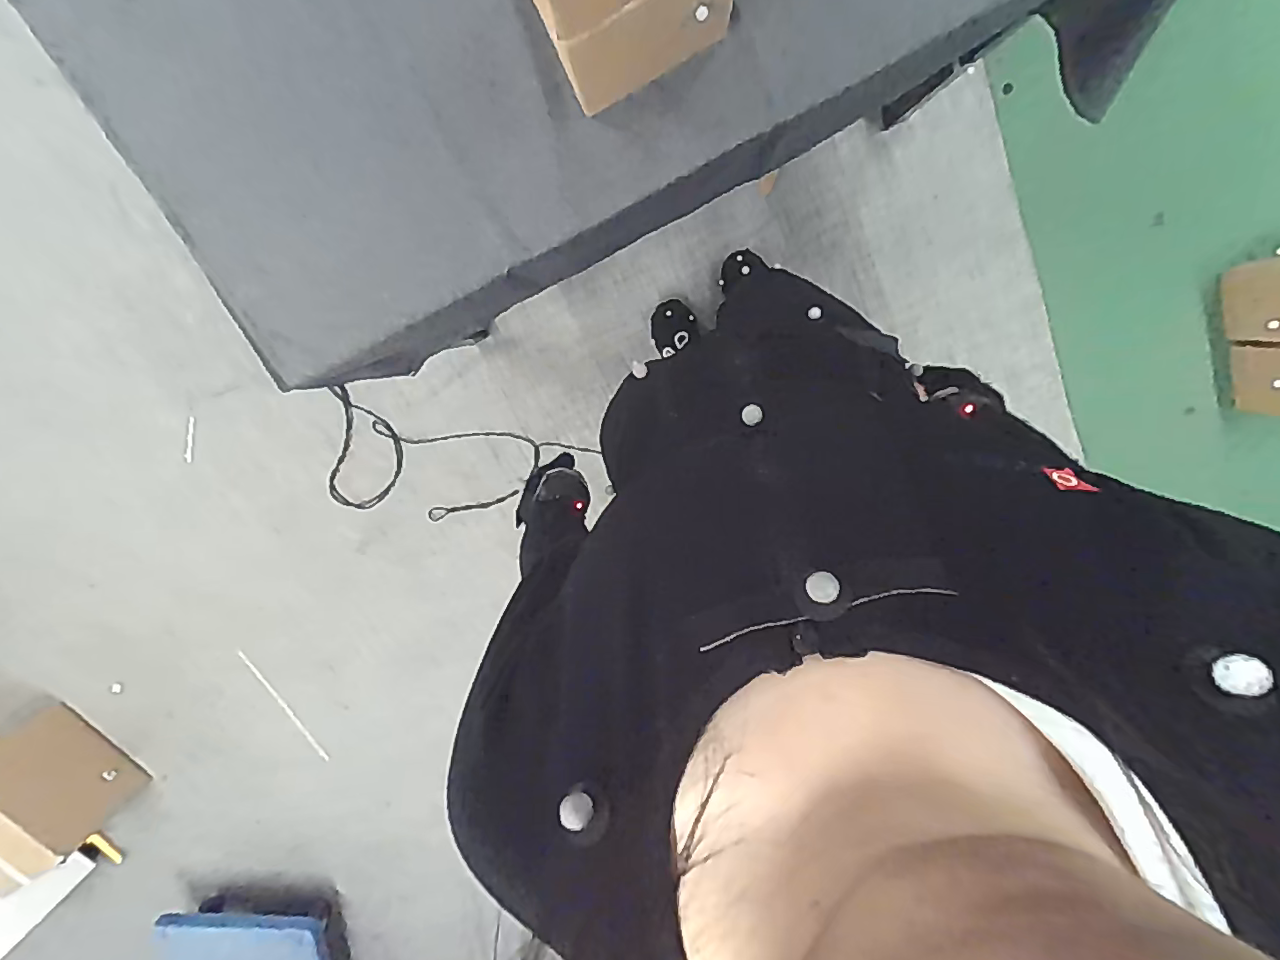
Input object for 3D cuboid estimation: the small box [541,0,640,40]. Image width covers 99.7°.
[{"bbox_3d":[-0.027,-0.458,0.361,0.179,0.176,0.168,-26,104,9],"label":"small box"}]
